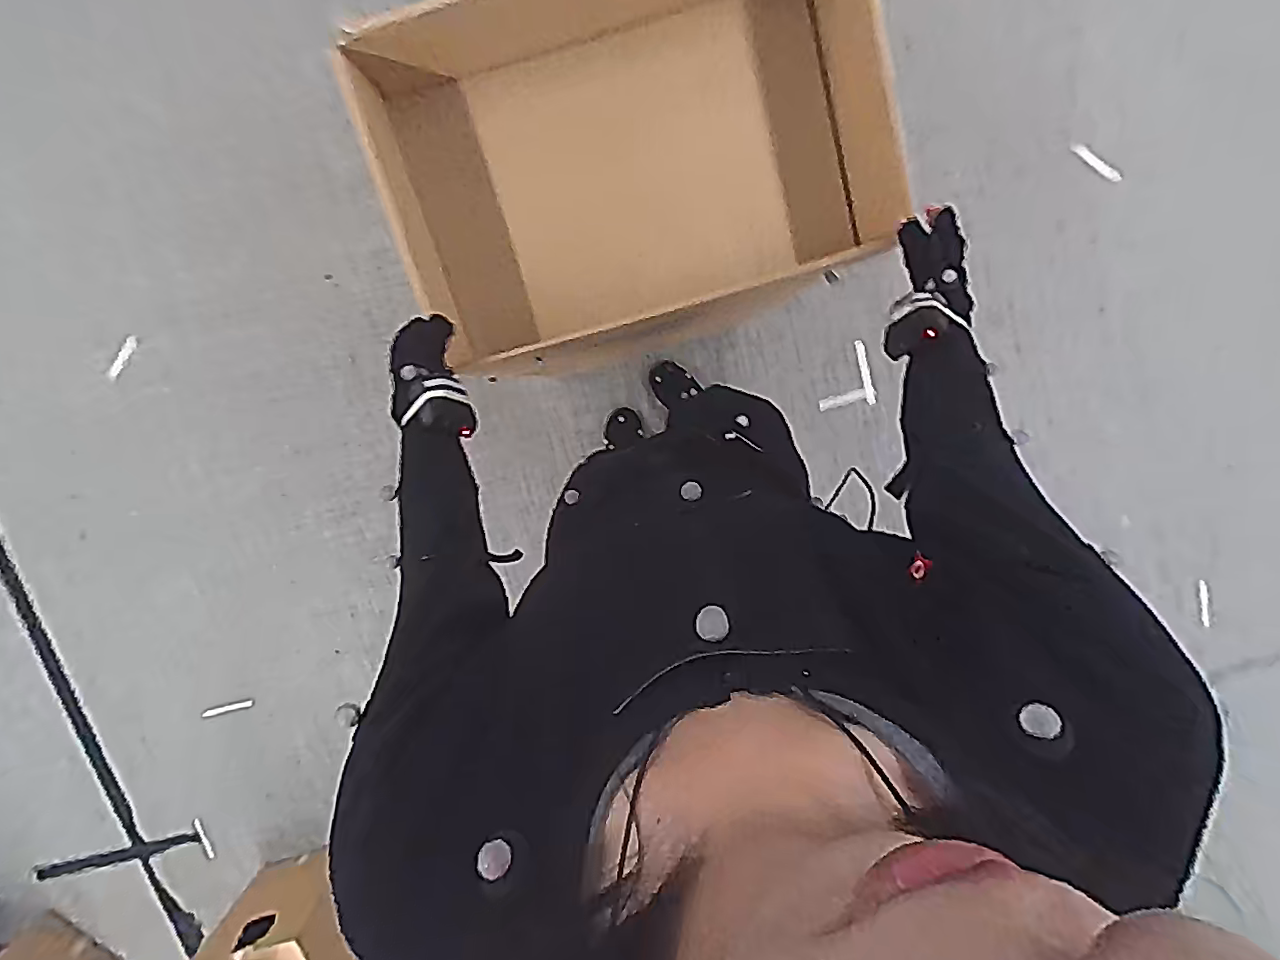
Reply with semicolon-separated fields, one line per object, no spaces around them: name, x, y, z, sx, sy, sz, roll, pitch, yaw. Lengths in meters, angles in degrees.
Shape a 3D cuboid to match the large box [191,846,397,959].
large box;-0.967;1.370;1.541;0.320;0.320;0.408;-19;98;0
